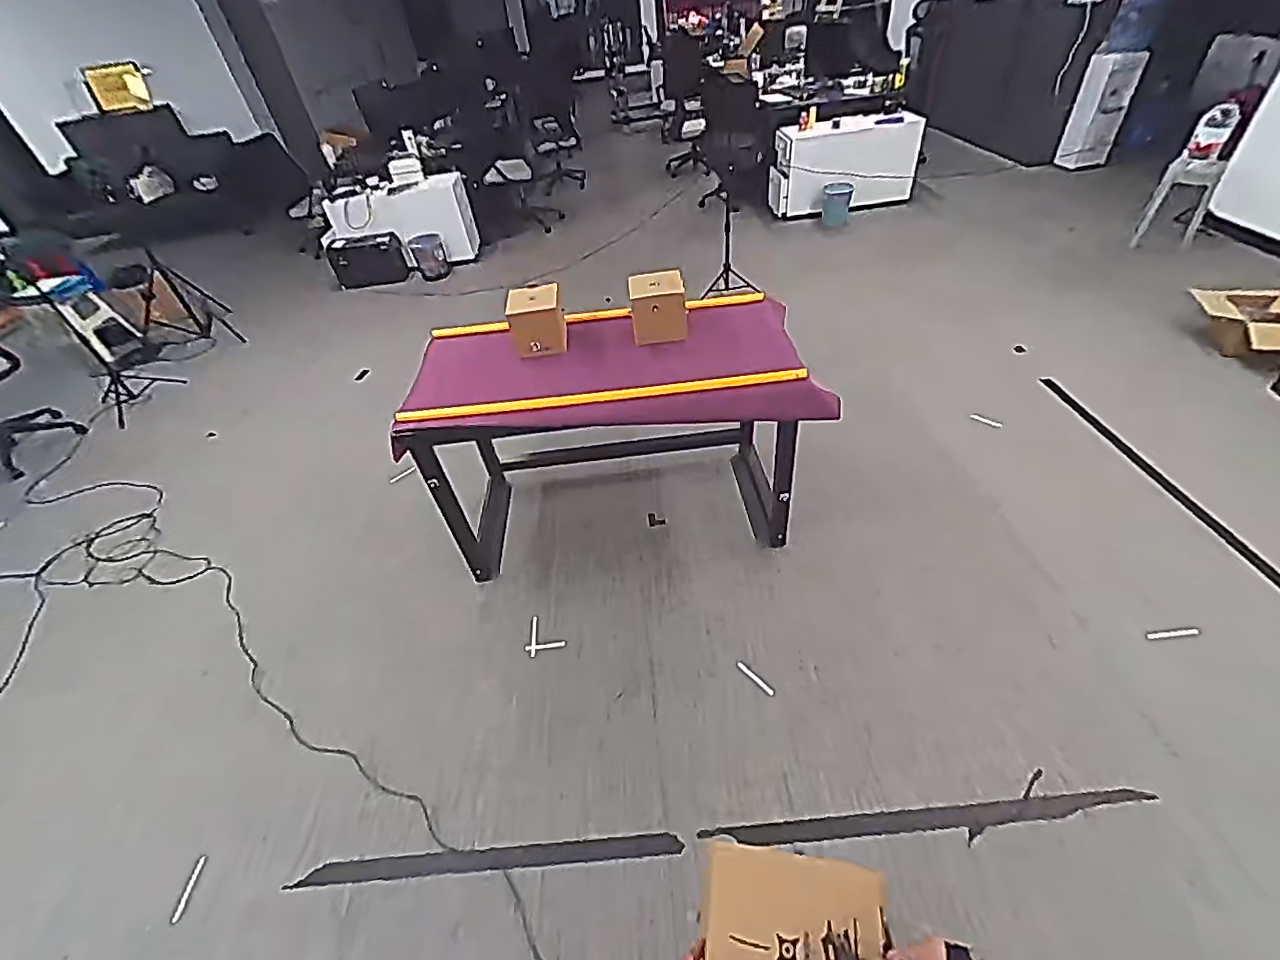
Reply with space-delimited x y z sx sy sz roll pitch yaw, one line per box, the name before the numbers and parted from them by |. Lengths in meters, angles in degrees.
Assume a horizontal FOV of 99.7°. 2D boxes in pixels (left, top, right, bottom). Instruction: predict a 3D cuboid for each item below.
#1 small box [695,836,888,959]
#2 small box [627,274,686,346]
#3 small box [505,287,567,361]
small box | 0.157 0.506 0.596 0.179 0.176 0.168 6 55 7
small box | 0.055 -0.561 1.793 0.179 0.176 0.168 -7 44 2
small box | -0.344 -0.523 1.816 0.168 0.176 0.179 -9 44 1
